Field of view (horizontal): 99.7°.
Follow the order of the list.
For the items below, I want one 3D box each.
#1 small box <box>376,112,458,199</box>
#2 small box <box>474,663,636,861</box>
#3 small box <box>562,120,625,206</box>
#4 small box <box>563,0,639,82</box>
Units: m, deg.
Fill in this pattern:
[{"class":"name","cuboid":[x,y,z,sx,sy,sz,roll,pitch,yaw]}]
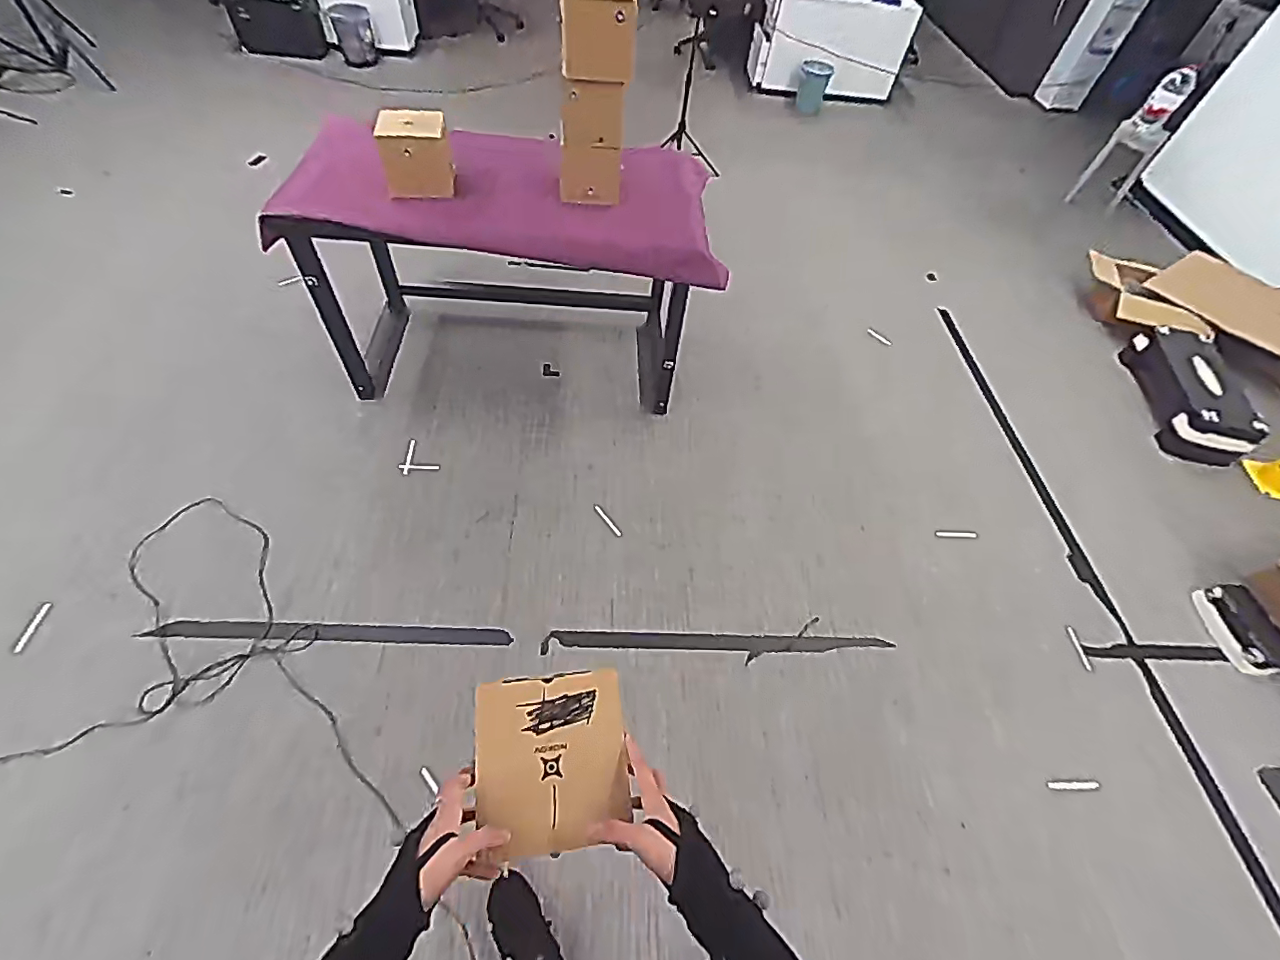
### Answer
[{"class":"small box","cuboid":[-0.634,-0.931,1.557,0.179,0.176,0.168,-4,55,-10]},{"class":"small box","cuboid":[-0.103,0.334,0.654,0.168,0.176,0.179,-4,63,-9]},{"class":"small box","cuboid":[-0.143,-0.951,1.628,0.179,0.176,0.168,0,54,-7]},{"class":"small box","cuboid":[-0.102,-1.125,1.353,0.179,0.176,0.168,-3,55,-8]}]
